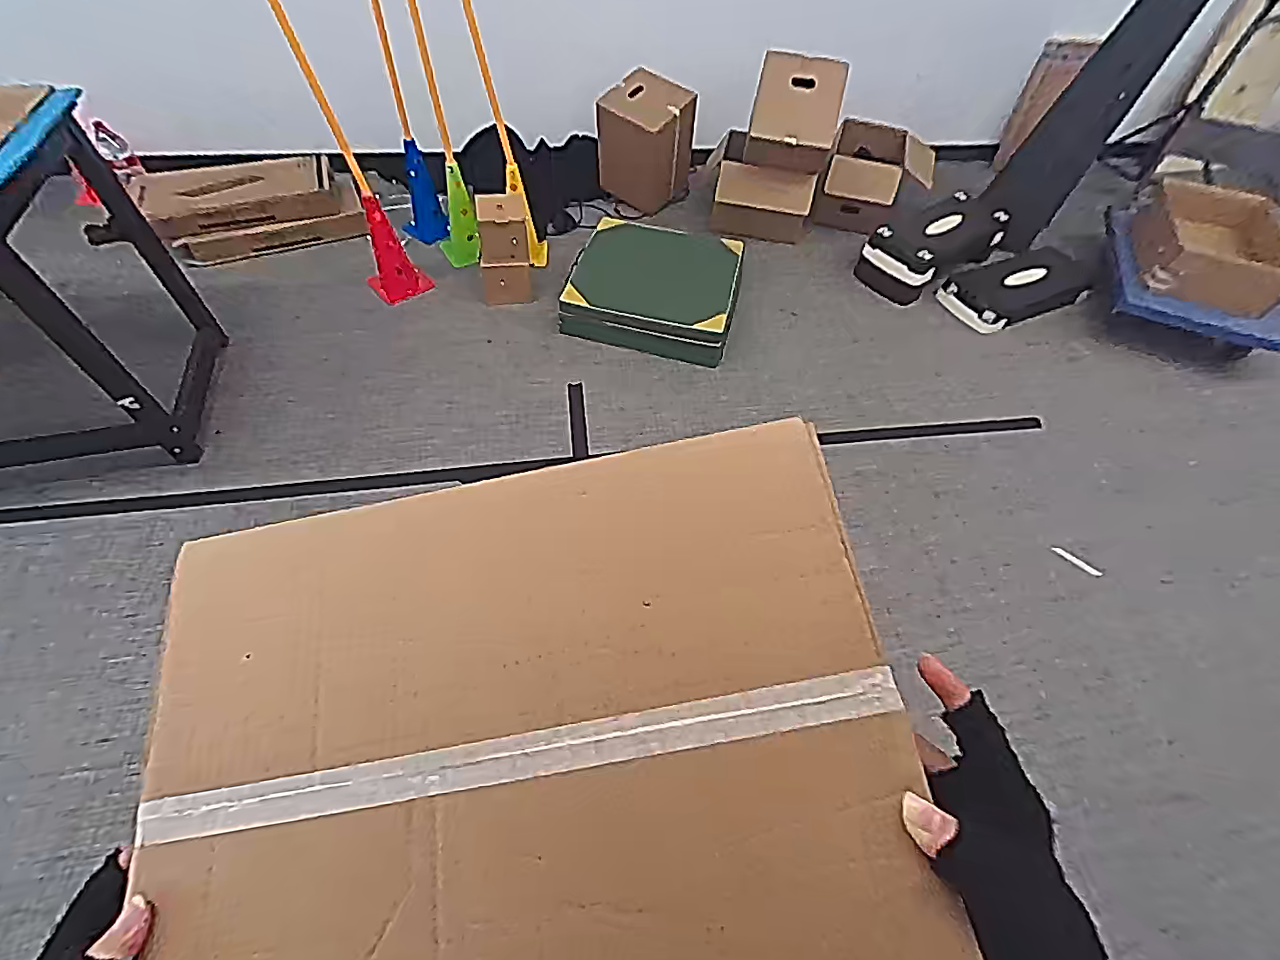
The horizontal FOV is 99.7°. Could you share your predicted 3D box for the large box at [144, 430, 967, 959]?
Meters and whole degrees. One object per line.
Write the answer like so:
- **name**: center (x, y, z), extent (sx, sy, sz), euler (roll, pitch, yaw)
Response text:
- **large box**: center (-0.049, 0.198, 0.429), extent (0.408, 0.320, 0.320), euler (-12, 68, 4)
